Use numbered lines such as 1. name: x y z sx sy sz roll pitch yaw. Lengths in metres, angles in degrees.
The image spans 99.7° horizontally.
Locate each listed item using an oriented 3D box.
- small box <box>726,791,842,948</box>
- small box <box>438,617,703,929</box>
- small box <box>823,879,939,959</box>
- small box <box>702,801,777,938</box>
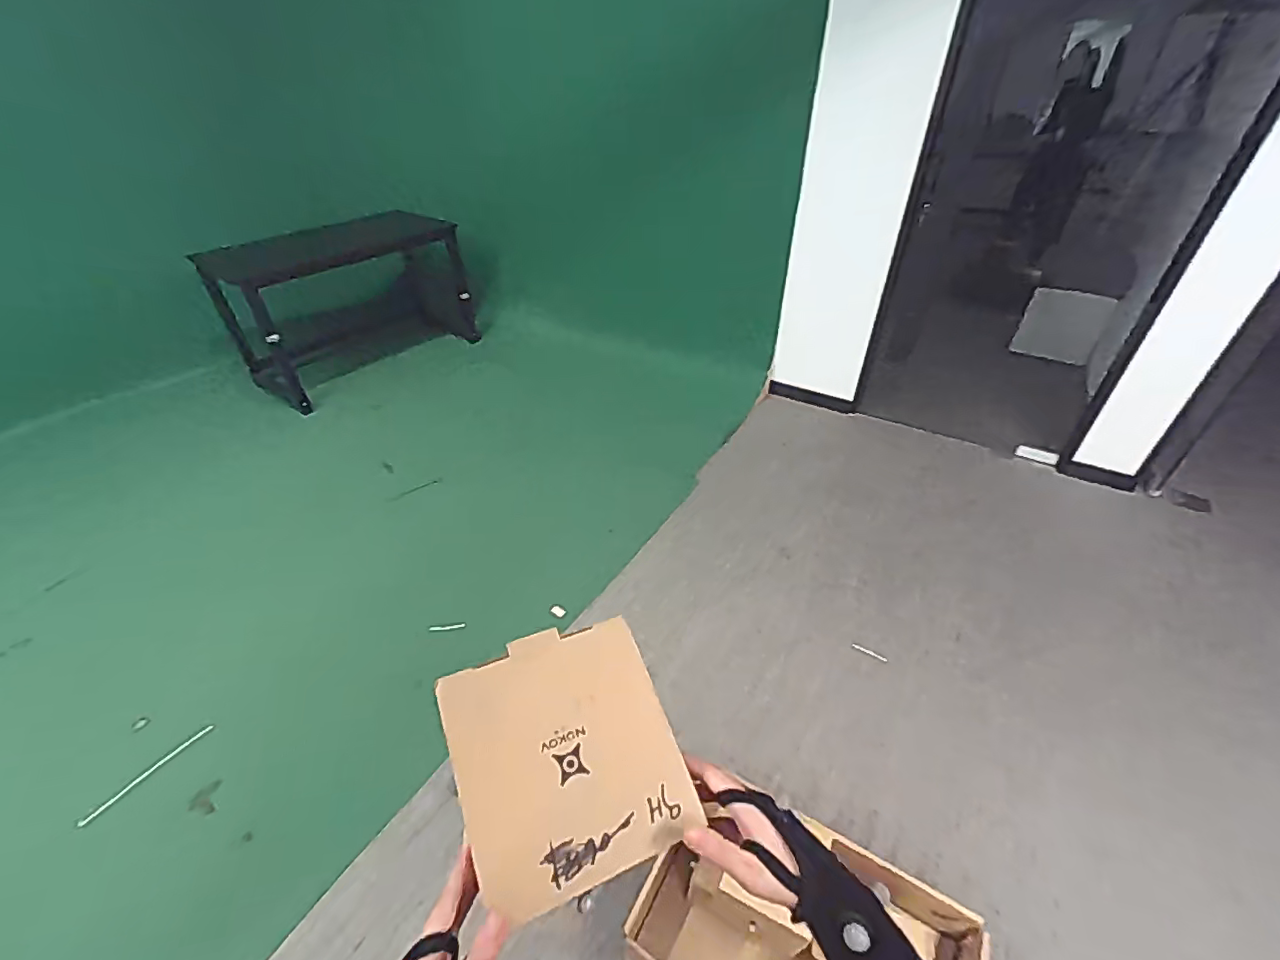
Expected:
1. small box: 0.271 0.749 1.039 0.168 0.176 0.179 18 45 20
2. small box: -0.070 0.255 0.486 0.168 0.176 0.179 -16 61 -20
3. small box: 0.463 0.935 1.058 0.179 0.176 0.168 15 43 21
4. small box: 0.243 0.848 1.175 0.179 0.176 0.168 19 45 22
